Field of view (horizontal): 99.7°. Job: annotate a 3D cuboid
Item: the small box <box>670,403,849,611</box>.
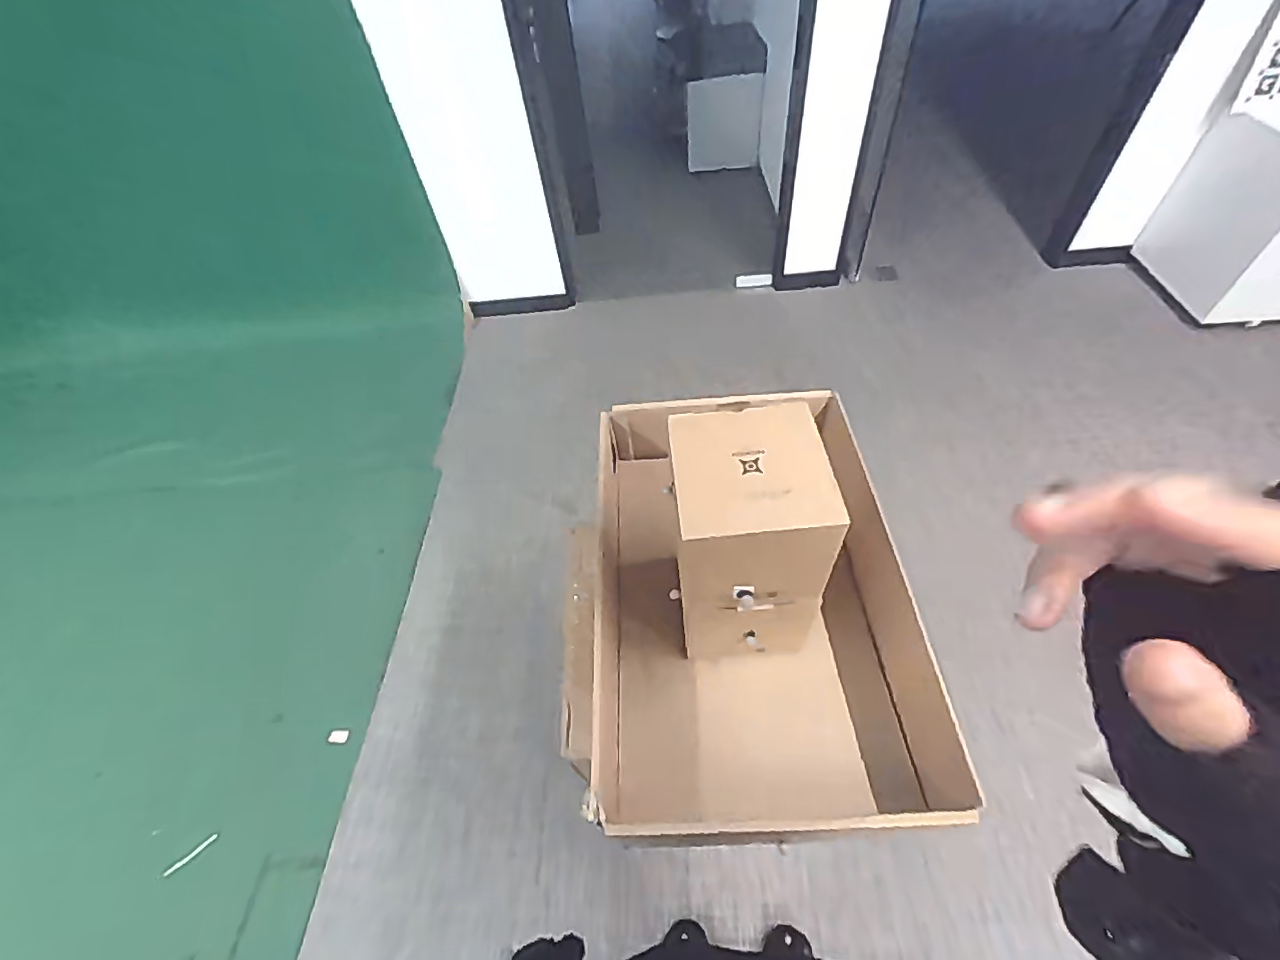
[{"bbox_3d":[0.124,0.034,0.639,0.168,0.176,0.179,-6,52,2],"label":"small box"}]
